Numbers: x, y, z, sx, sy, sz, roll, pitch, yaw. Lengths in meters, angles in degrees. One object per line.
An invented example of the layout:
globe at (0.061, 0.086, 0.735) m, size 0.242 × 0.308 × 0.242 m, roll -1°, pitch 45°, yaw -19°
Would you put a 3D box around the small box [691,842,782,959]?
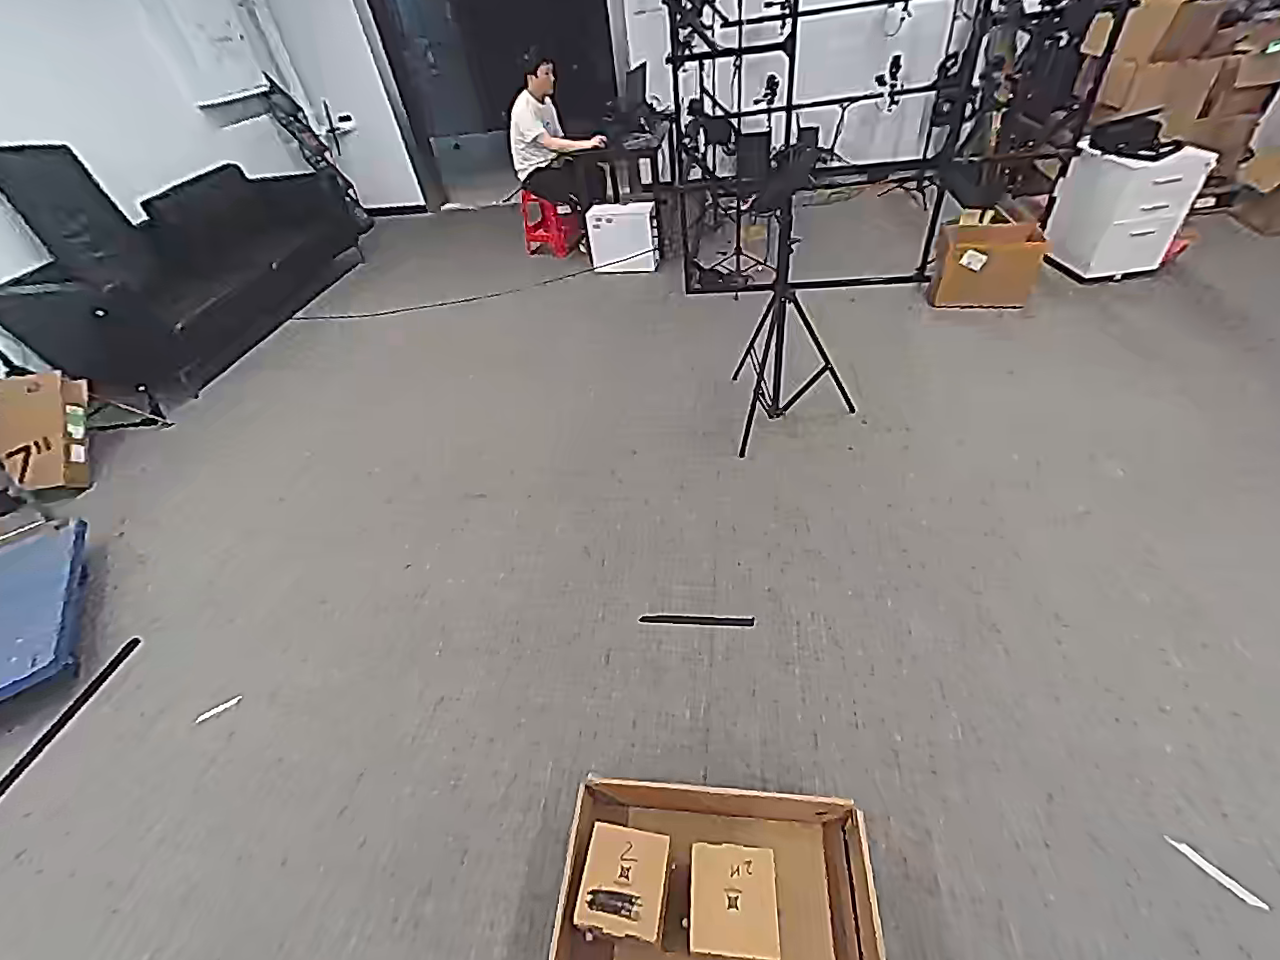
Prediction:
small box at (0.194, 0.862, 1.091) m, size 0.168 × 0.176 × 0.179 m, roll -1°, pitch 43°, yaw 9°
